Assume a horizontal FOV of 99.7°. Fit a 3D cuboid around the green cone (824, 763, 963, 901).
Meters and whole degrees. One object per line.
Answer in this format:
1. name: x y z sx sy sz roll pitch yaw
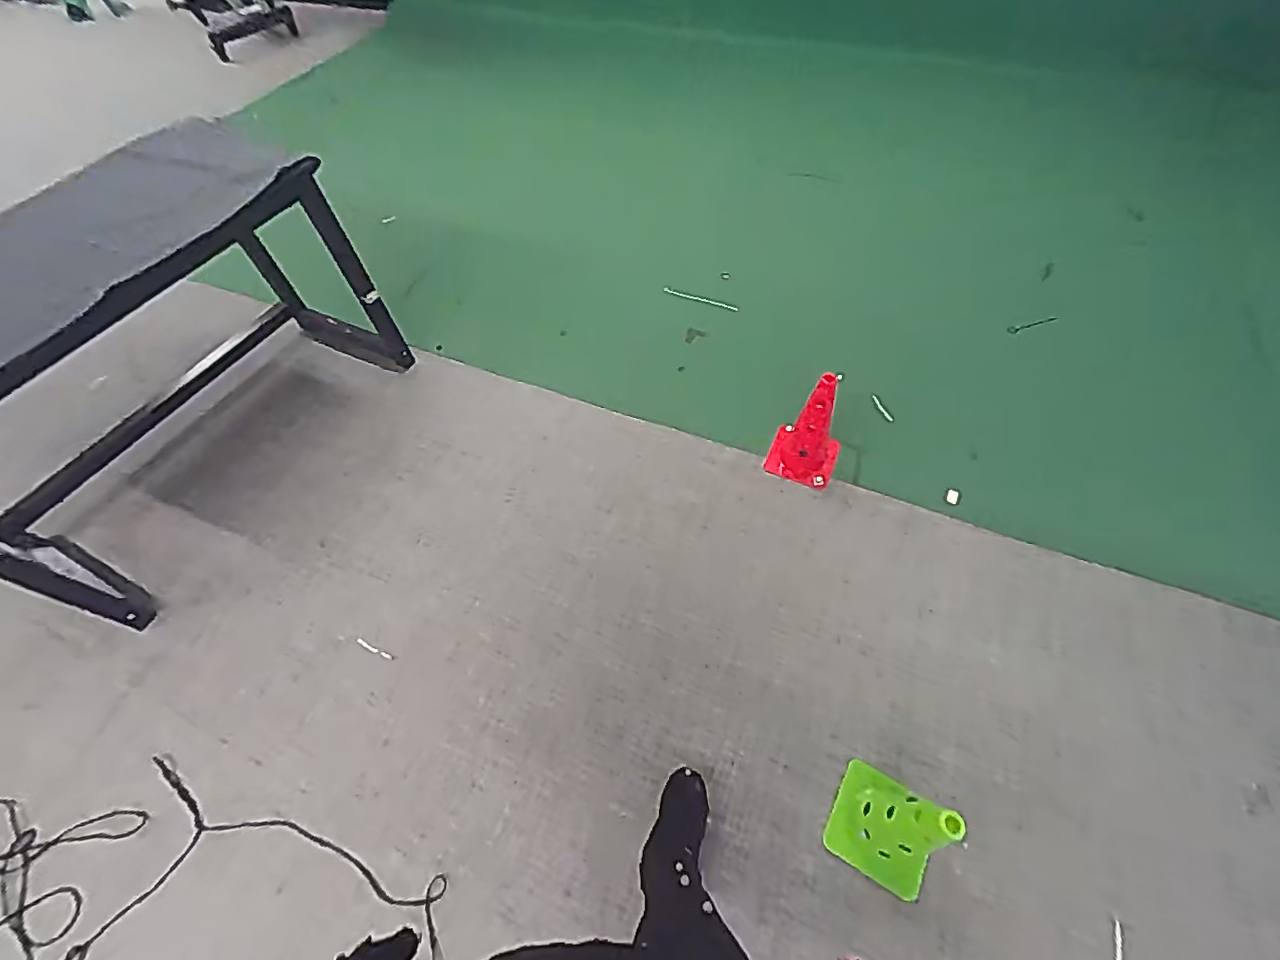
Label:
1. green cone: 0.512 0.658 1.028 0.200 0.368 0.202 24 61 19
